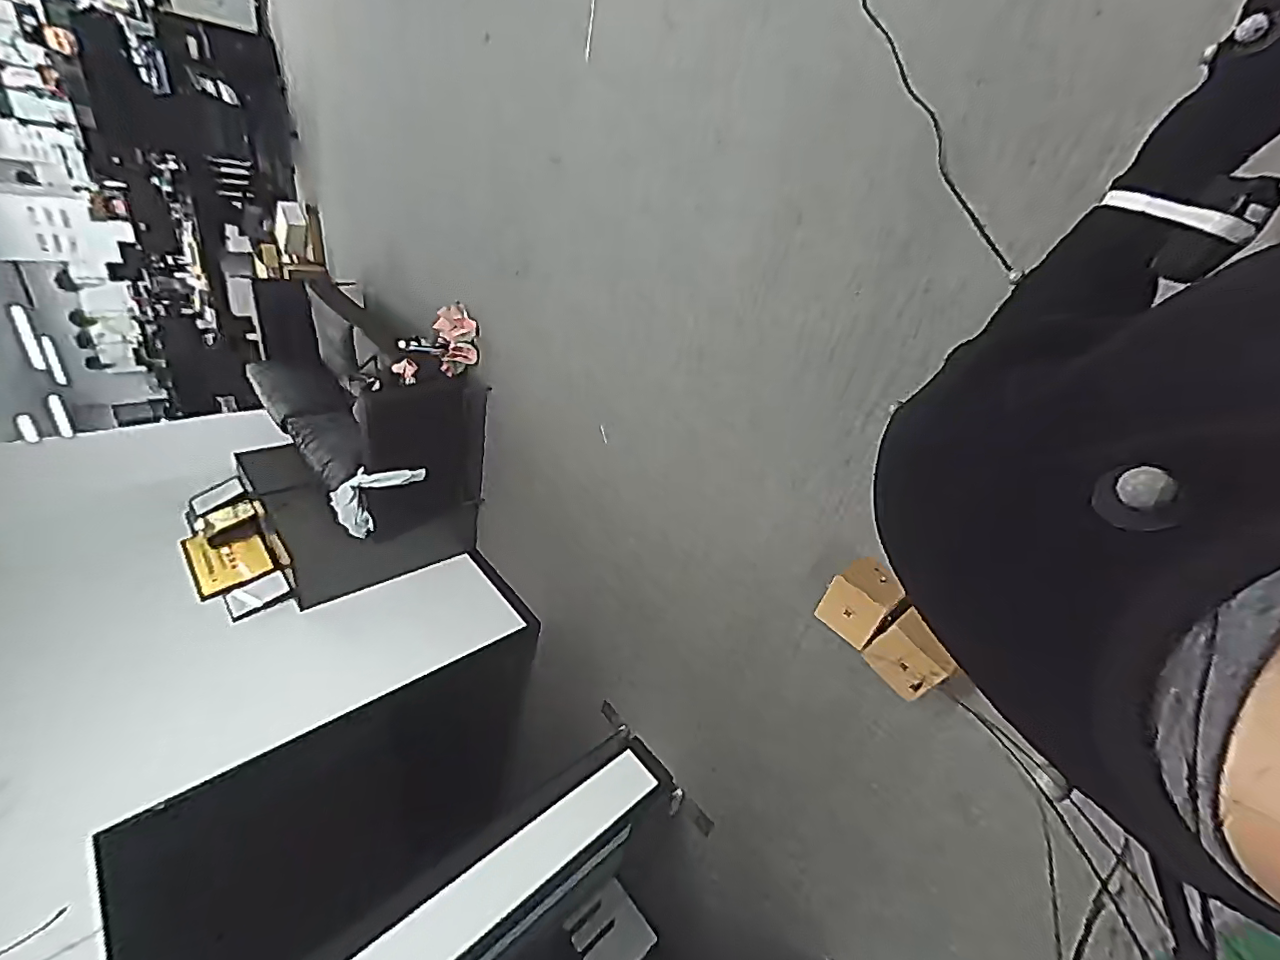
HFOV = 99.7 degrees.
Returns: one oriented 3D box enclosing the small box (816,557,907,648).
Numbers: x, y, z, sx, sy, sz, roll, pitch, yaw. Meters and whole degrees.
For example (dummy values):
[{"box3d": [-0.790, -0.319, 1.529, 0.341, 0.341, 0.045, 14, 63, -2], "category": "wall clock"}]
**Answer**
[{"box3d": [0.667, 0.363, 1.622, 0.168, 0.176, 0.179, 39, 129, 33], "category": "small box"}]
